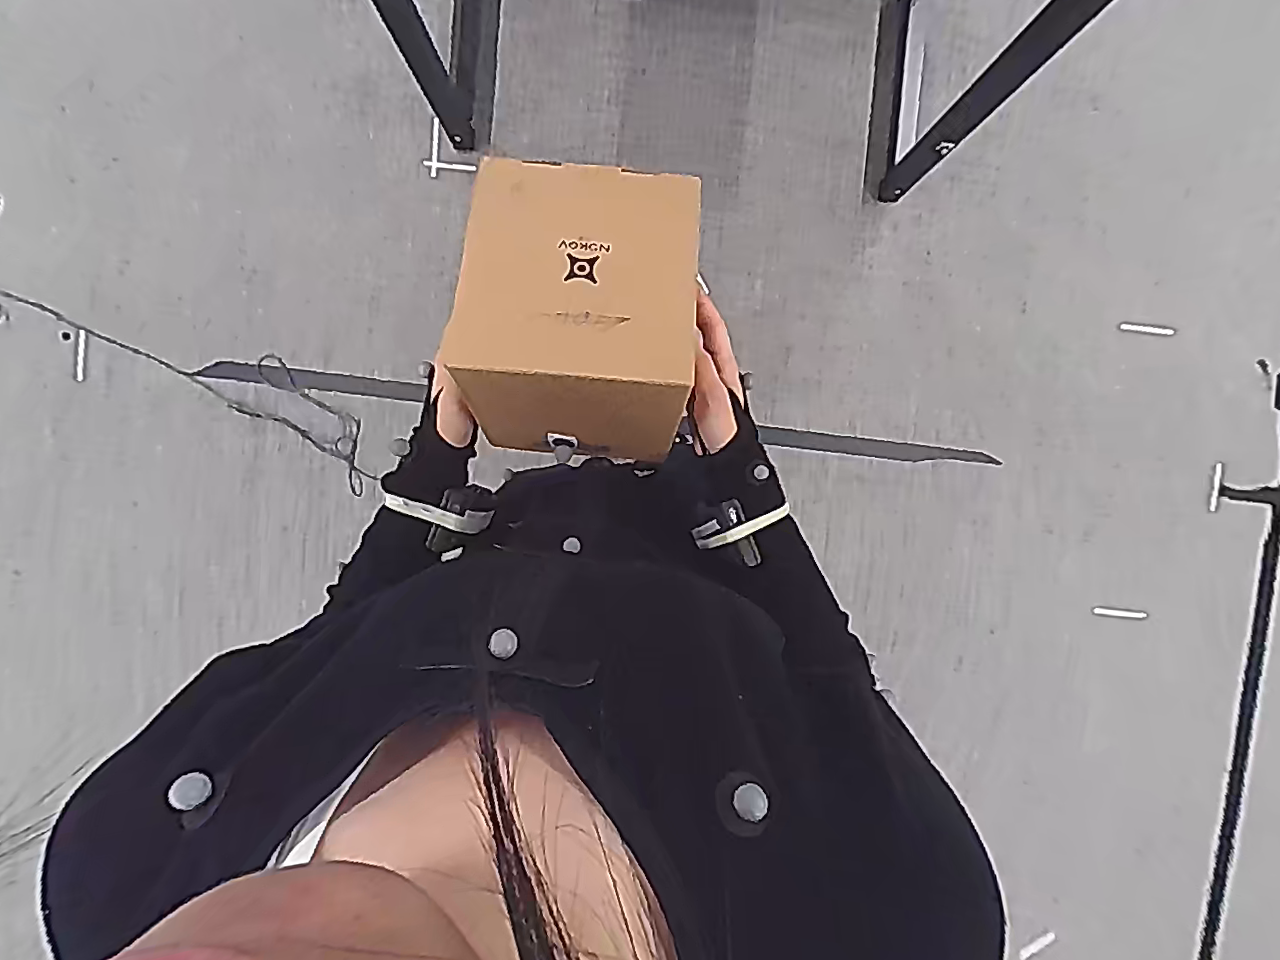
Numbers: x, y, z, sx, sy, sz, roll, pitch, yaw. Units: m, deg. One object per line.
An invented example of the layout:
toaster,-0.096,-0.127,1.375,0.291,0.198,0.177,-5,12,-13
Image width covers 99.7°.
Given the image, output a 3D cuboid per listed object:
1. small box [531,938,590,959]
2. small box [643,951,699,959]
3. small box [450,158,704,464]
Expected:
small box,-0.231,1.409,1.470,0.168,0.176,0.179,9,92,-3
small box,0.096,1.449,1.488,0.179,0.176,0.168,-6,93,-3
small box,-0.044,-0.126,0.453,0.168,0.176,0.179,4,74,-2
